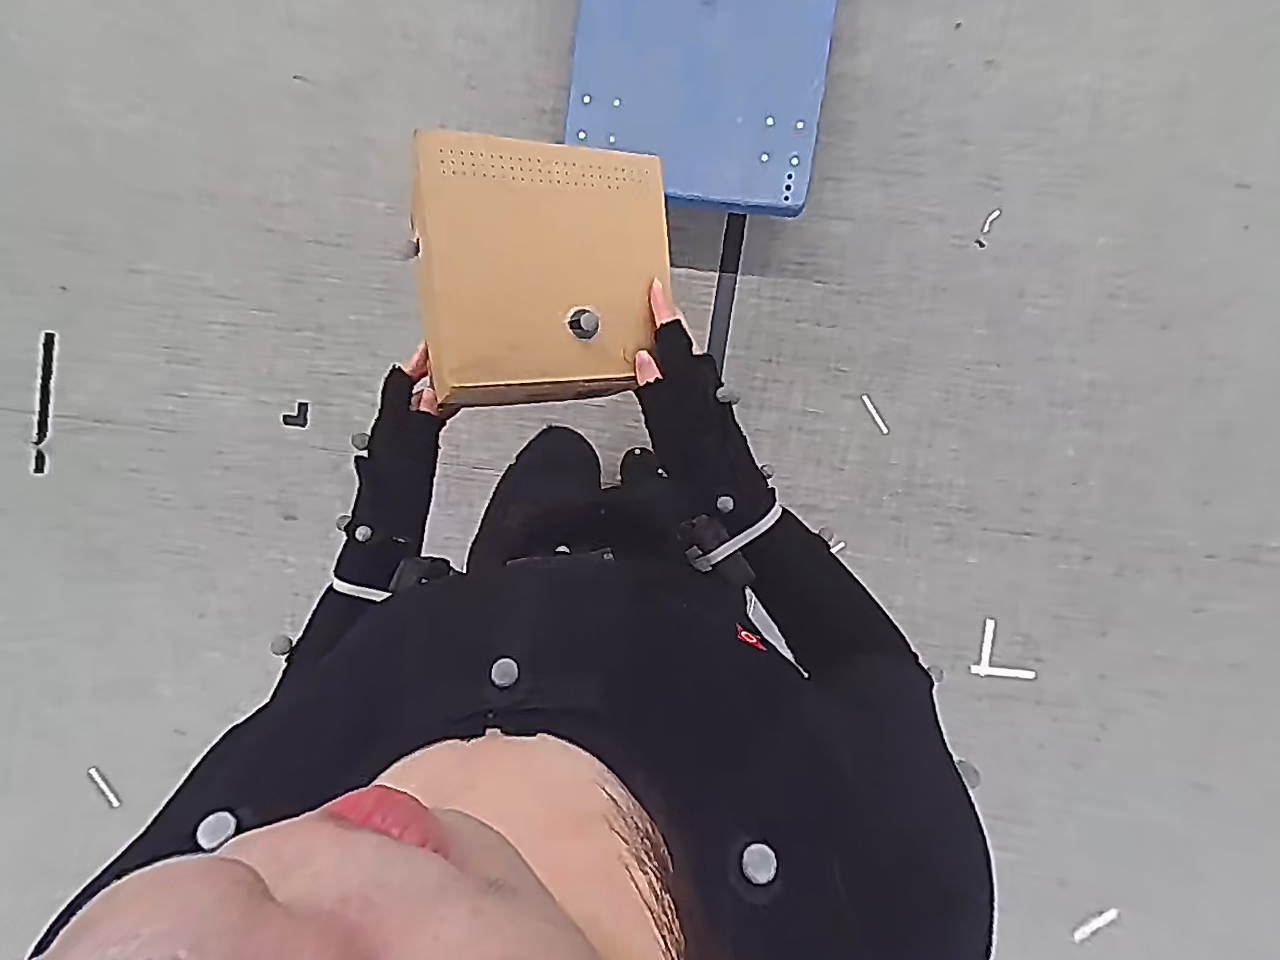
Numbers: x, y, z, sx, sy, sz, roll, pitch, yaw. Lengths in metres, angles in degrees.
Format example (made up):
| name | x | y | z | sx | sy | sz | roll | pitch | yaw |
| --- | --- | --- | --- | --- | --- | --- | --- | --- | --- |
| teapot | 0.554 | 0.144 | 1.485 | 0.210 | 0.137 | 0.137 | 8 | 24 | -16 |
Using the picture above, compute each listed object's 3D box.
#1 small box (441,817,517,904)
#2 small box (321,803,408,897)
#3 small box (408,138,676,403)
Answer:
| name | x | y | z | sx | sy | sz | roll | pitch | yaw |
| --- | --- | --- | --- | --- | --- | --- | --- | --- | --- |
| small box | -0.455 | 1.095 | 1.516 | 0.168 | 0.176 | 0.179 | 10 | 95 | 1 |
| small box | -0.773 | 1.055 | 1.523 | 0.168 | 0.176 | 0.179 | 6 | 95 | 1 |
| small box | -0.088 | -0.159 | 0.458 | 0.179 | 0.168 | 0.176 | -8 | 97 | -24 |
